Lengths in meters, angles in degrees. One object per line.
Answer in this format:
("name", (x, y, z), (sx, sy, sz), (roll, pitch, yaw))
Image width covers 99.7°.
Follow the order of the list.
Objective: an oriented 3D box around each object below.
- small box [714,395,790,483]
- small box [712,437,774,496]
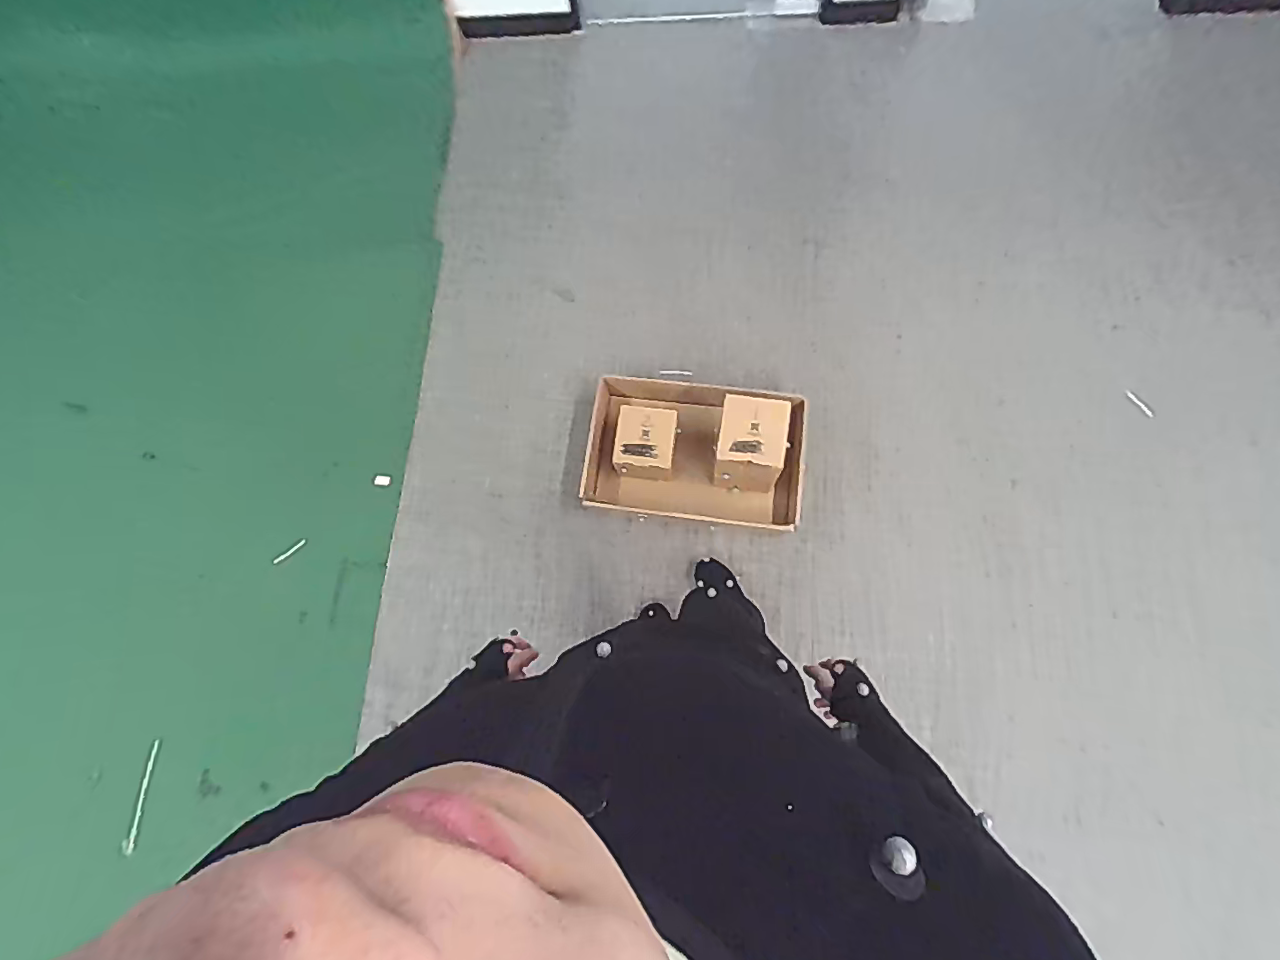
("small box", (0.286, -0.099, 1.408), (0.168, 0.176, 0.179), (9, 77, 8))
("small box", (0.301, -0.063, 1.567), (0.168, 0.176, 0.179), (7, 78, 7))
